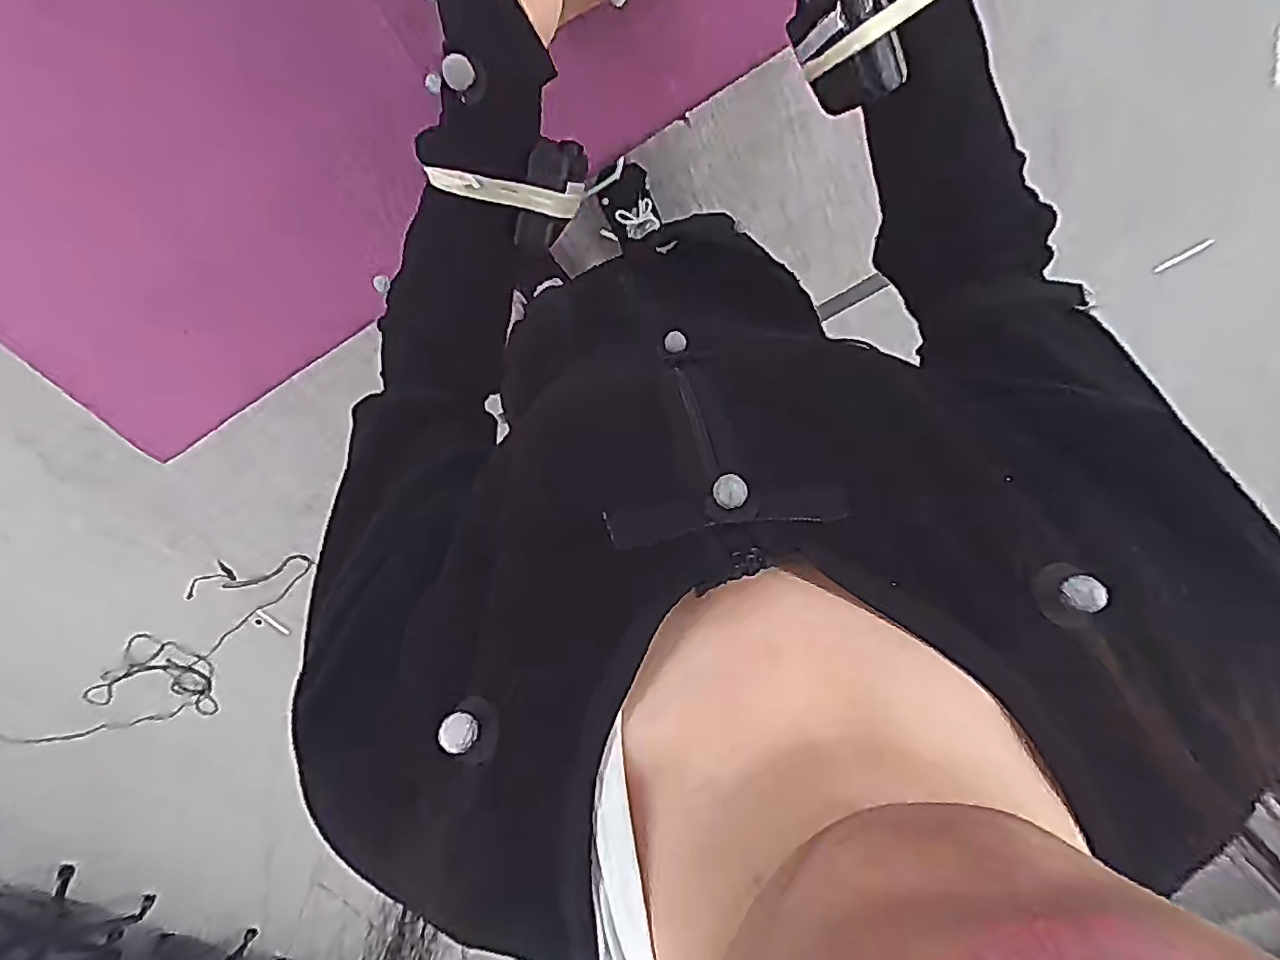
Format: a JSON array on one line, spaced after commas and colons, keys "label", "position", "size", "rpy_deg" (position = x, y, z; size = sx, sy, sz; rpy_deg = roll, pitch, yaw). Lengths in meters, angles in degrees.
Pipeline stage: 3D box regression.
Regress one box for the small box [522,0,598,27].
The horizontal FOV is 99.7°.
[{"label": "small box", "position": [-0.054, -0.496, 0.408], "size": [0.168, 0.176, 0.179], "rpy_deg": [-24, 121, 7]}]
